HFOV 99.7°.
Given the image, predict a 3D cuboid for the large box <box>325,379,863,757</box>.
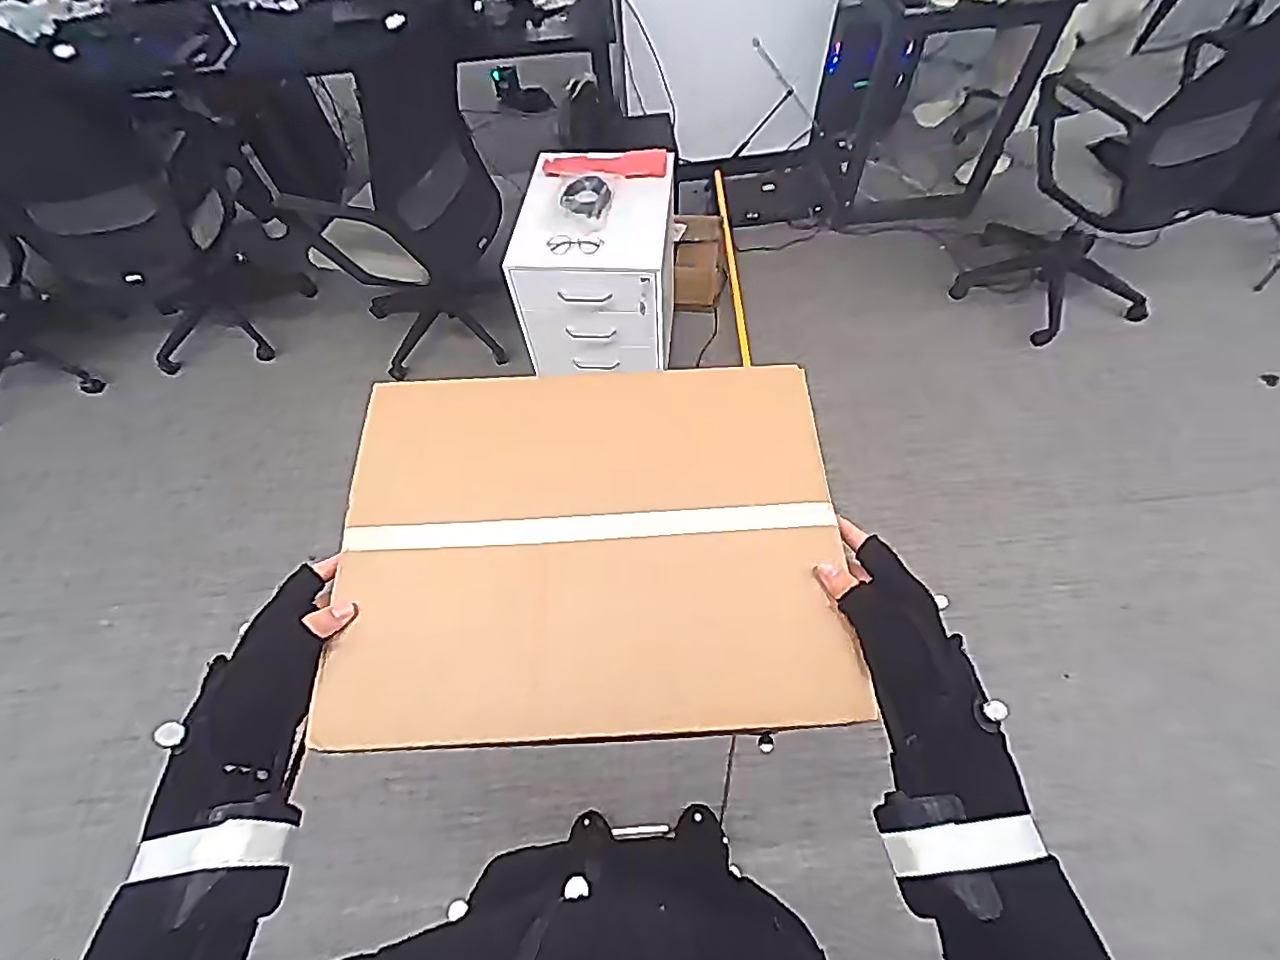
[{"bbox_3d":[-0.038,0.113,0.591,0.408,0.320,0.320,-2,64,-1],"label":"large box"}]
